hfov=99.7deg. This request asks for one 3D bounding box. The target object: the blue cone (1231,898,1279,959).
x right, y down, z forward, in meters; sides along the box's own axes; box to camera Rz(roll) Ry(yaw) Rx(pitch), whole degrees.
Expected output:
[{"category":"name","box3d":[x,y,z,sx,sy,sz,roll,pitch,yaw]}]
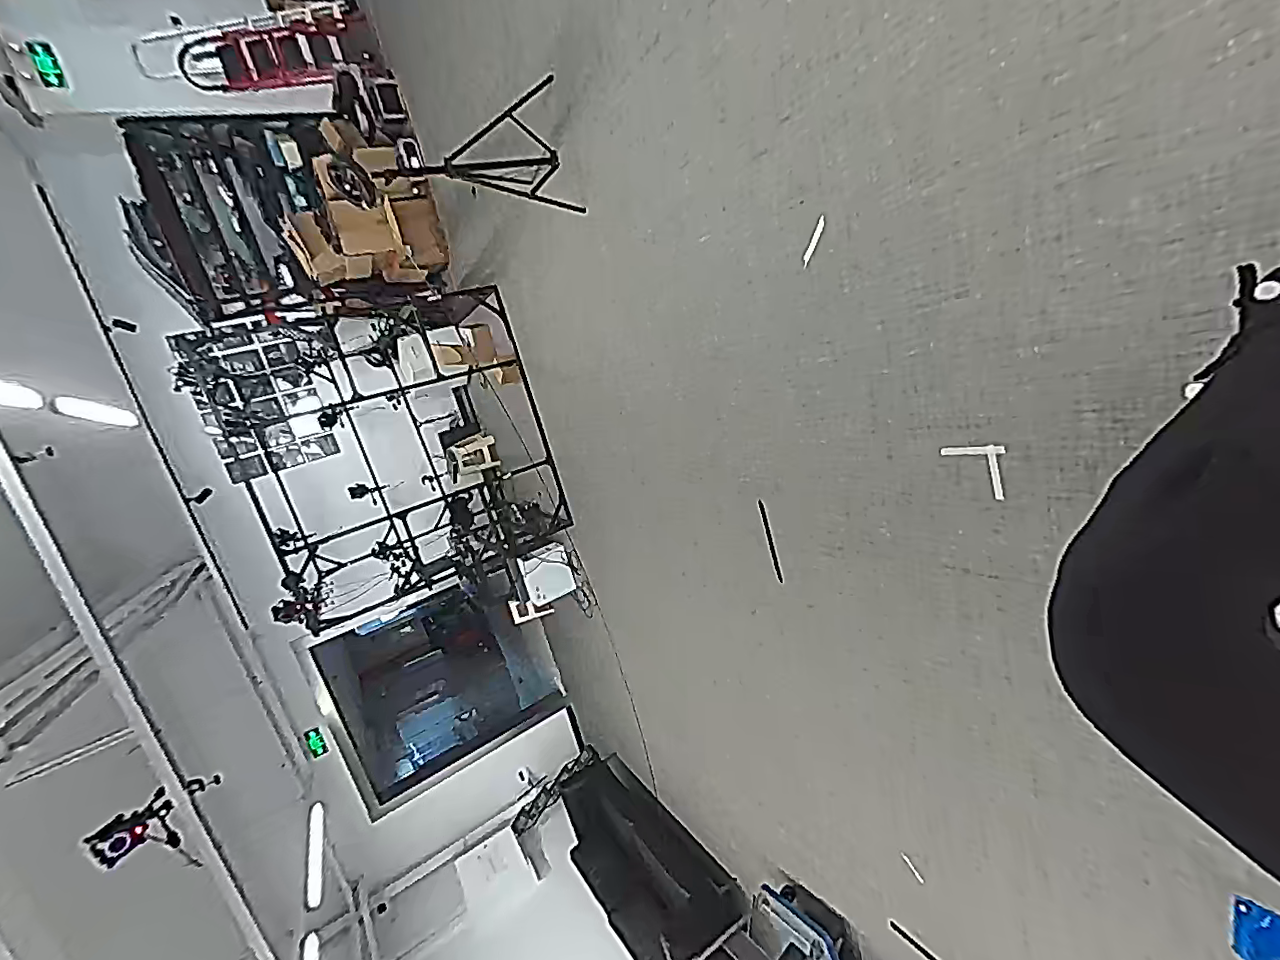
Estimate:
[{"category":"blue cone","box3d":[1.389,1.167,1.196,0.192,0.380,0.193,15,122,59]}]
